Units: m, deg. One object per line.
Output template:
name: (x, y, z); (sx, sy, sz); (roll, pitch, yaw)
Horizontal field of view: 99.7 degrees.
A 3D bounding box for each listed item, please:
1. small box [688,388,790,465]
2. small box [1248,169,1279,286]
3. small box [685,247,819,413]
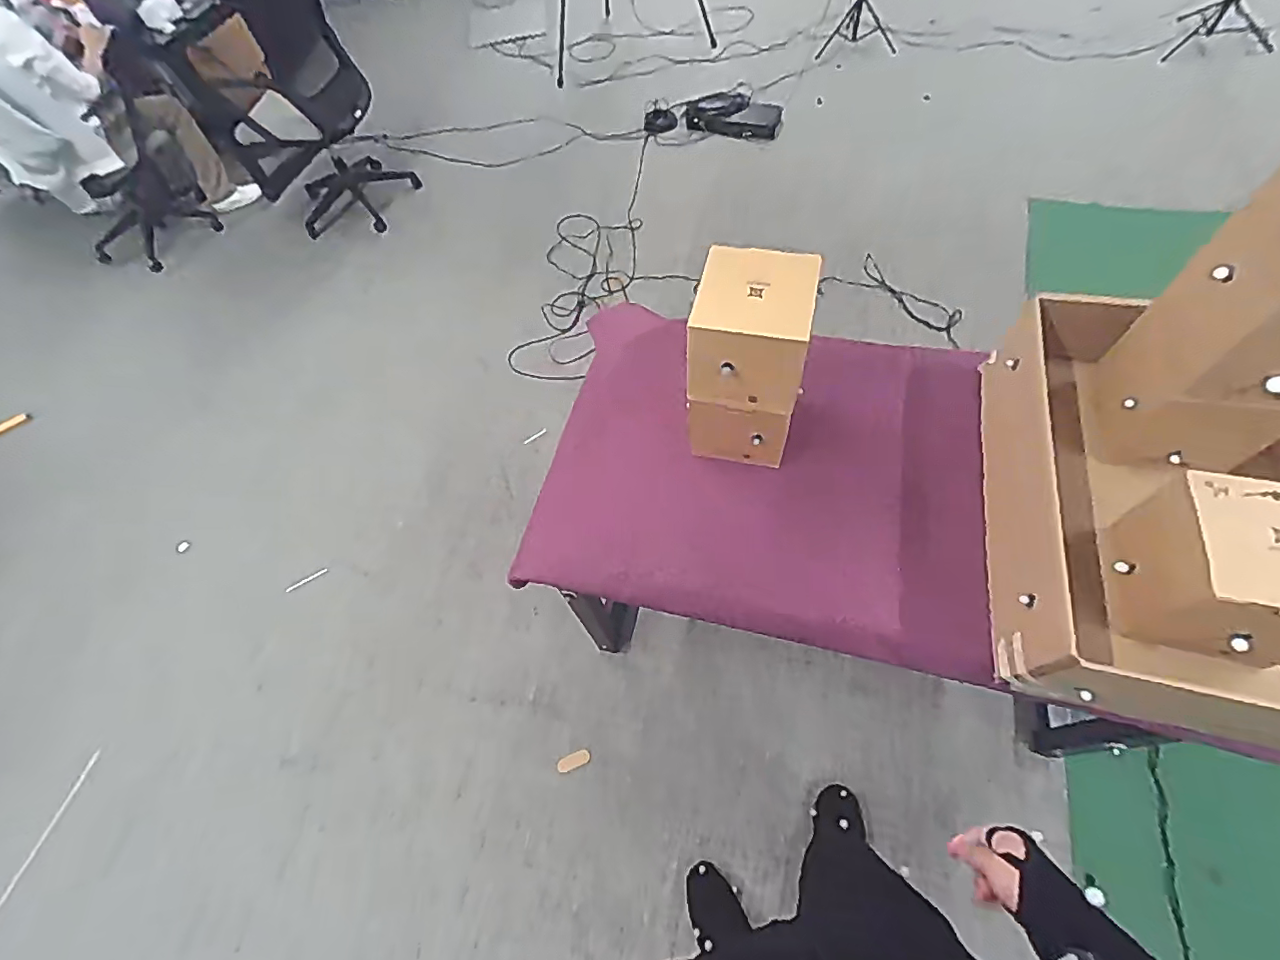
small box: (0.187, -0.148, 0.973); (0.168, 0.176, 0.179); (11, 62, 12)
small box: (0.788, -0.289, 0.539); (0.168, 0.176, 0.179); (10, 63, 13)
small box: (0.170, -0.226, 0.832); (0.168, 0.176, 0.179); (10, 61, 12)
